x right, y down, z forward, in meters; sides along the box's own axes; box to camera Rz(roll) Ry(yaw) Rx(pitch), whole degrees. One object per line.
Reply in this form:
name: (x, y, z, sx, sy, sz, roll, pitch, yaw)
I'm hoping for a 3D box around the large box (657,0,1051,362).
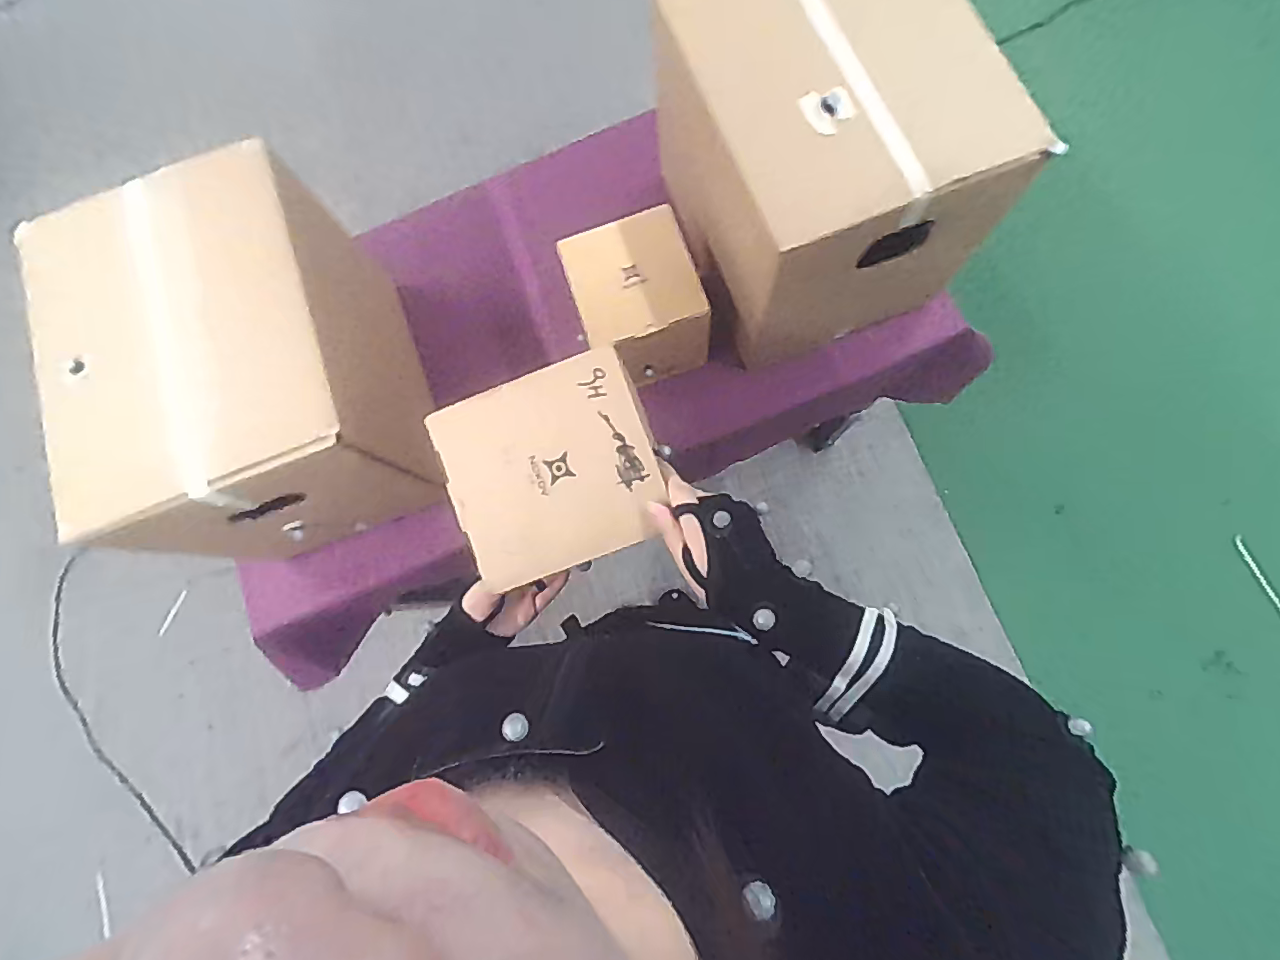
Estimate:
large box: (0.237, -0.445, 0.759, 0.320, 0.320, 0.408, -20, 79, 0)
